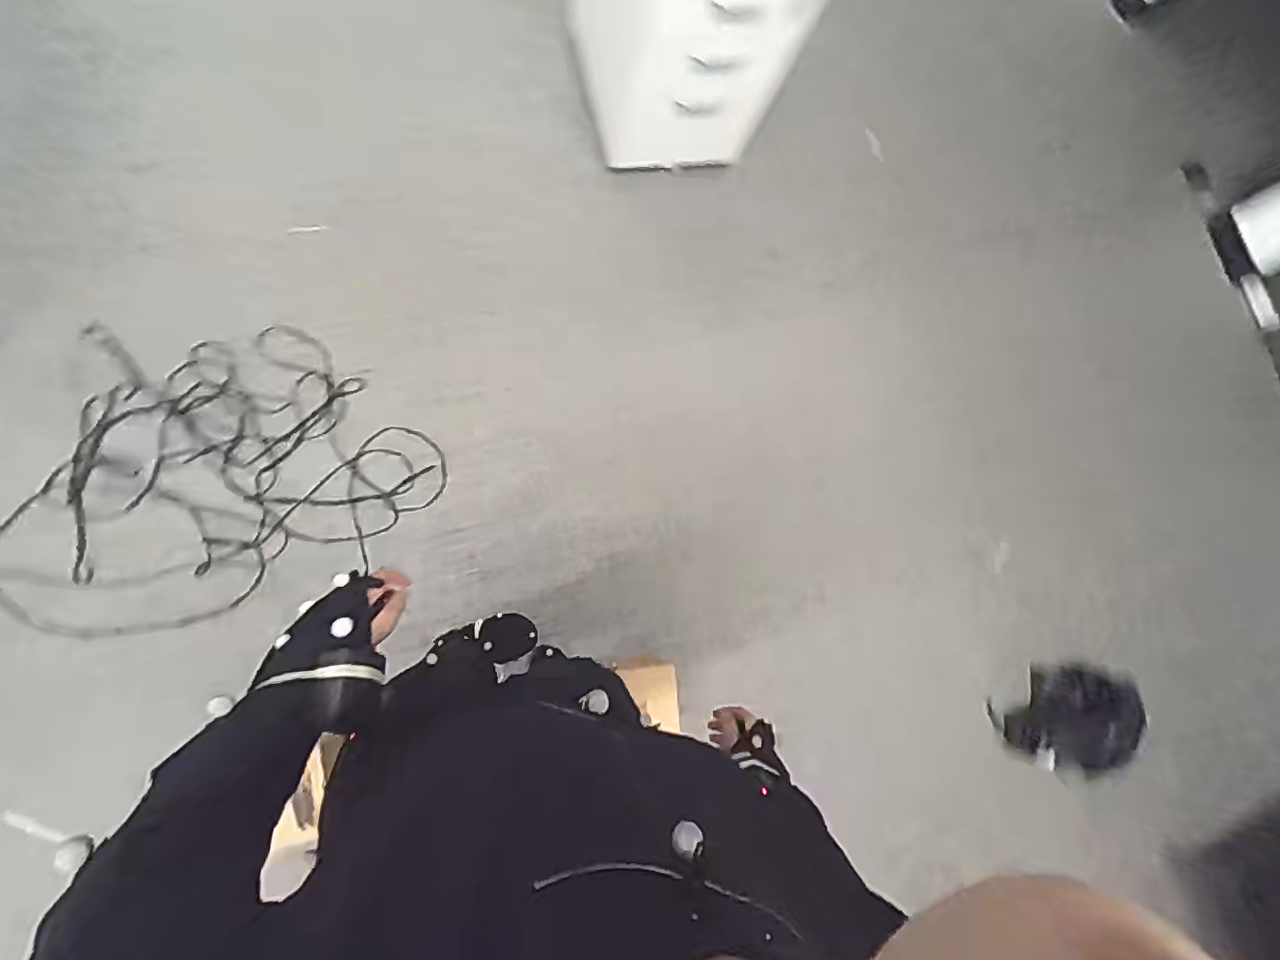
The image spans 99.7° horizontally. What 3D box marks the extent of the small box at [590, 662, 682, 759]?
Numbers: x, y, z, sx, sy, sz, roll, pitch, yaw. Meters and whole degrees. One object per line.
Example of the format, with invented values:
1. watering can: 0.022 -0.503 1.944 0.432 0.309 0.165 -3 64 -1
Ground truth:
1. small box: -0.014 0.524 1.253 0.179 0.176 0.168 -2 80 -13
